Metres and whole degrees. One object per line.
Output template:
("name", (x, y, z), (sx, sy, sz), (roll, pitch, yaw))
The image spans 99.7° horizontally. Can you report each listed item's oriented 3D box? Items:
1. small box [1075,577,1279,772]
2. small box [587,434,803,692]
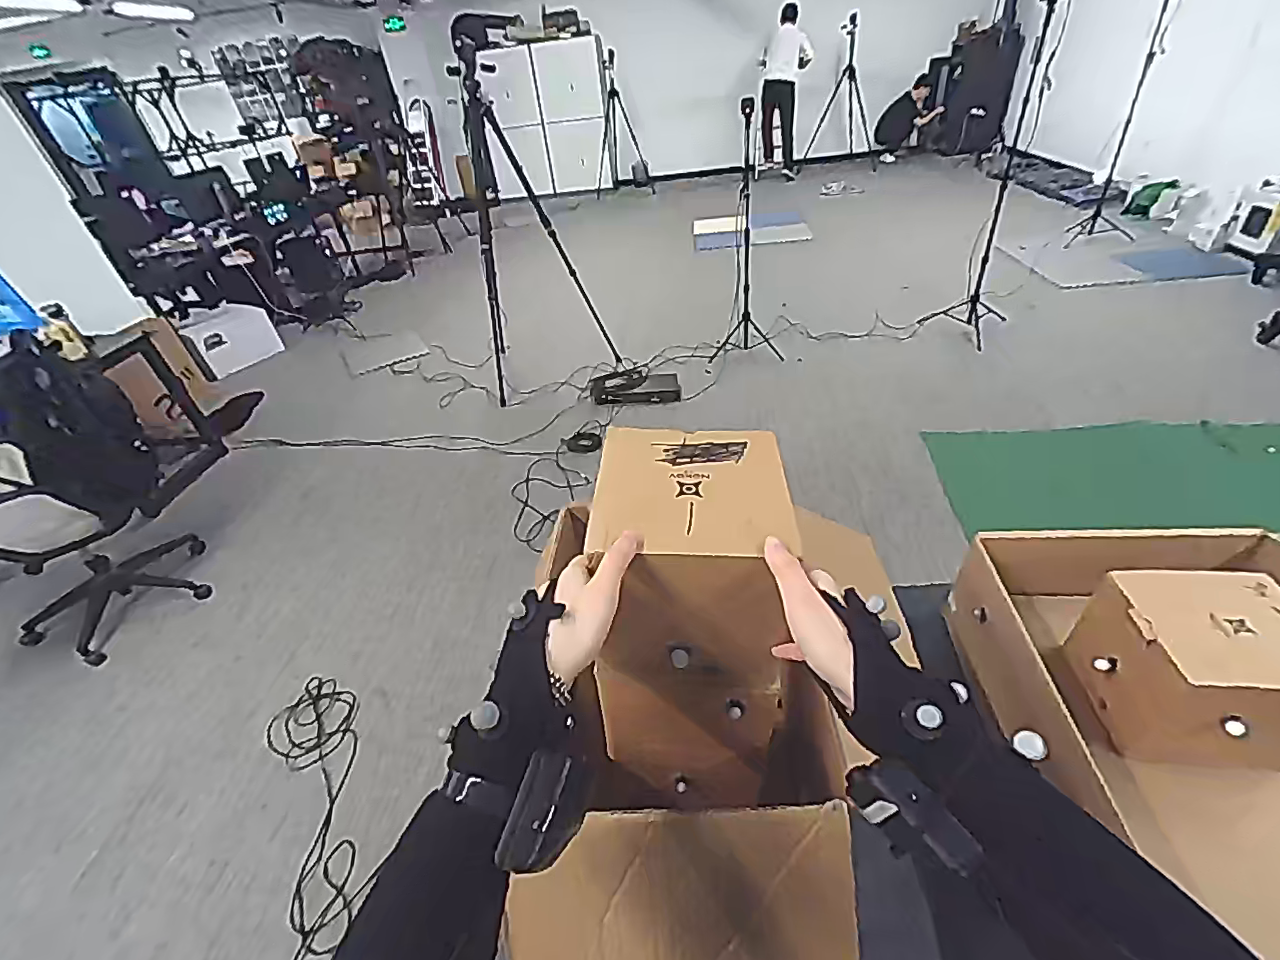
("small box", (0.684, 0.238, 0.669), (0.179, 0.176, 0.168), (-2, 39, 11))
("small box", (0.047, 0.073, 0.516), (0.168, 0.176, 0.179), (1, 37, 4))
